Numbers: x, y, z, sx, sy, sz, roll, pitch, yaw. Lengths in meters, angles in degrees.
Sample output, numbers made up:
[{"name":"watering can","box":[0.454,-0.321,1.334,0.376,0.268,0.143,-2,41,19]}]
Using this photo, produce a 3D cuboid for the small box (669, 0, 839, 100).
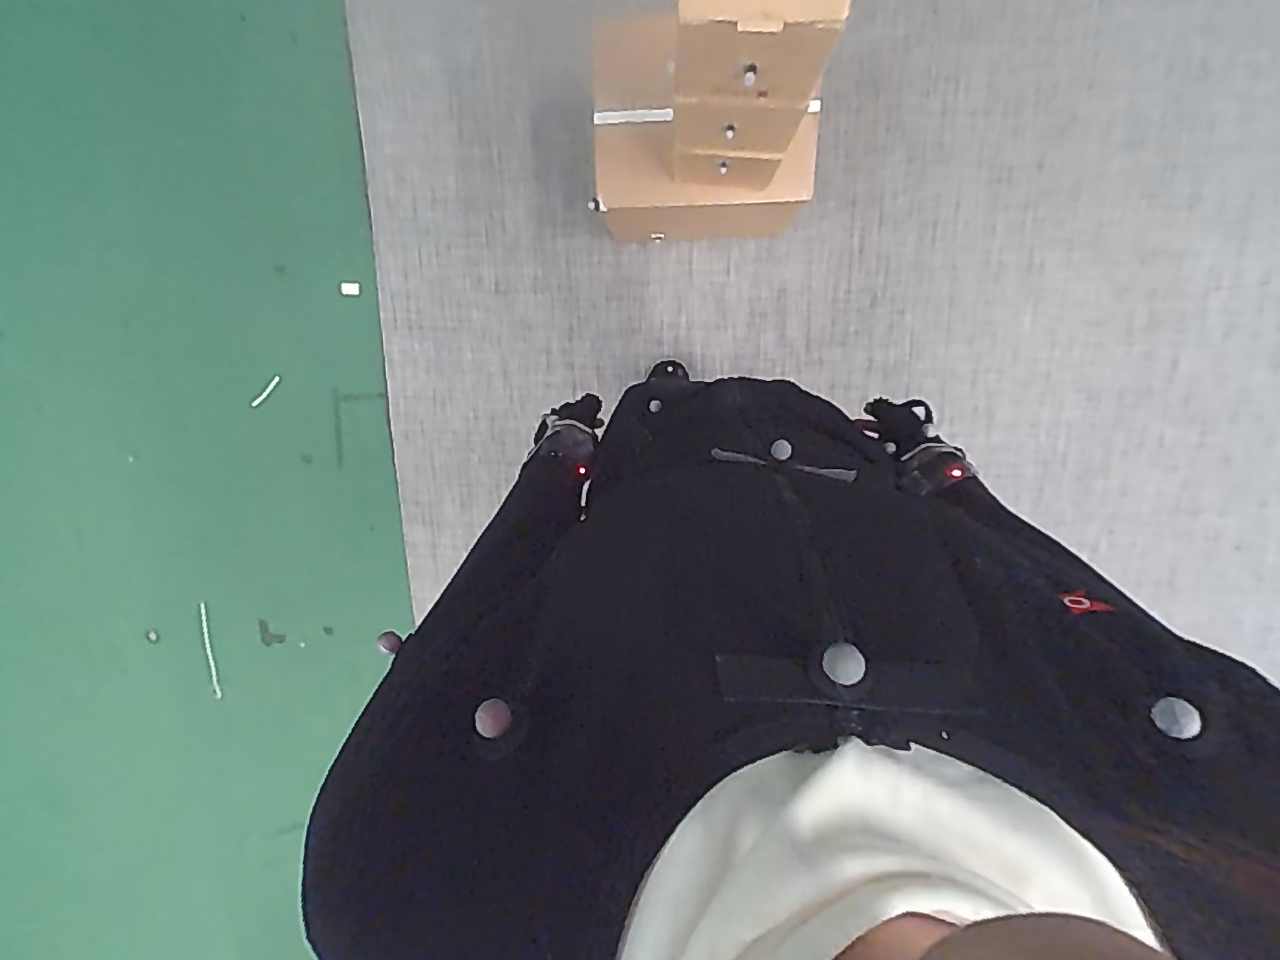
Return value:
[{"name":"small box","box":[0.124,-0.544,0.588,0.168,0.176,0.179,5,105,3]}]

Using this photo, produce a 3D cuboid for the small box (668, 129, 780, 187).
[{"name":"small box","box":[0.143,-0.608,0.908,0.179,0.176,0.168,5,105,2]}]

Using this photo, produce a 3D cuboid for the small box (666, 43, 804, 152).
[{"name":"small box","box":[0.133,-0.574,0.749,0.179,0.176,0.168,6,104,5]}]
